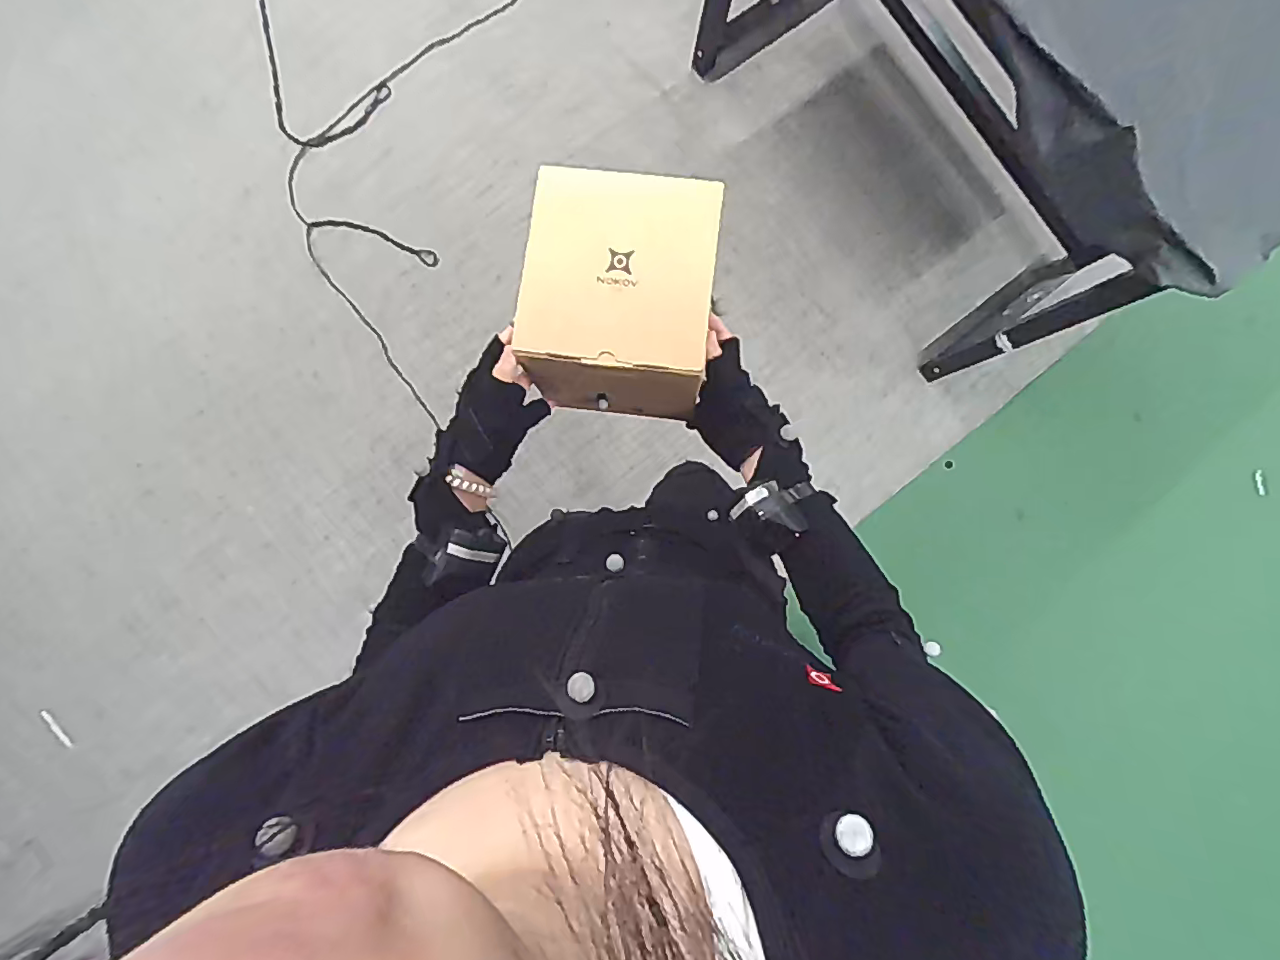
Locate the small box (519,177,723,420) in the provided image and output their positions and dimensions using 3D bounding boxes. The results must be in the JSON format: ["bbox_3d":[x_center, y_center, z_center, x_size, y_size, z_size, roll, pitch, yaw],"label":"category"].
[{"bbox_3d":[-0.015,-0.173,0.561,0.168,0.176,0.179,7,84,2],"label":"small box"}]
